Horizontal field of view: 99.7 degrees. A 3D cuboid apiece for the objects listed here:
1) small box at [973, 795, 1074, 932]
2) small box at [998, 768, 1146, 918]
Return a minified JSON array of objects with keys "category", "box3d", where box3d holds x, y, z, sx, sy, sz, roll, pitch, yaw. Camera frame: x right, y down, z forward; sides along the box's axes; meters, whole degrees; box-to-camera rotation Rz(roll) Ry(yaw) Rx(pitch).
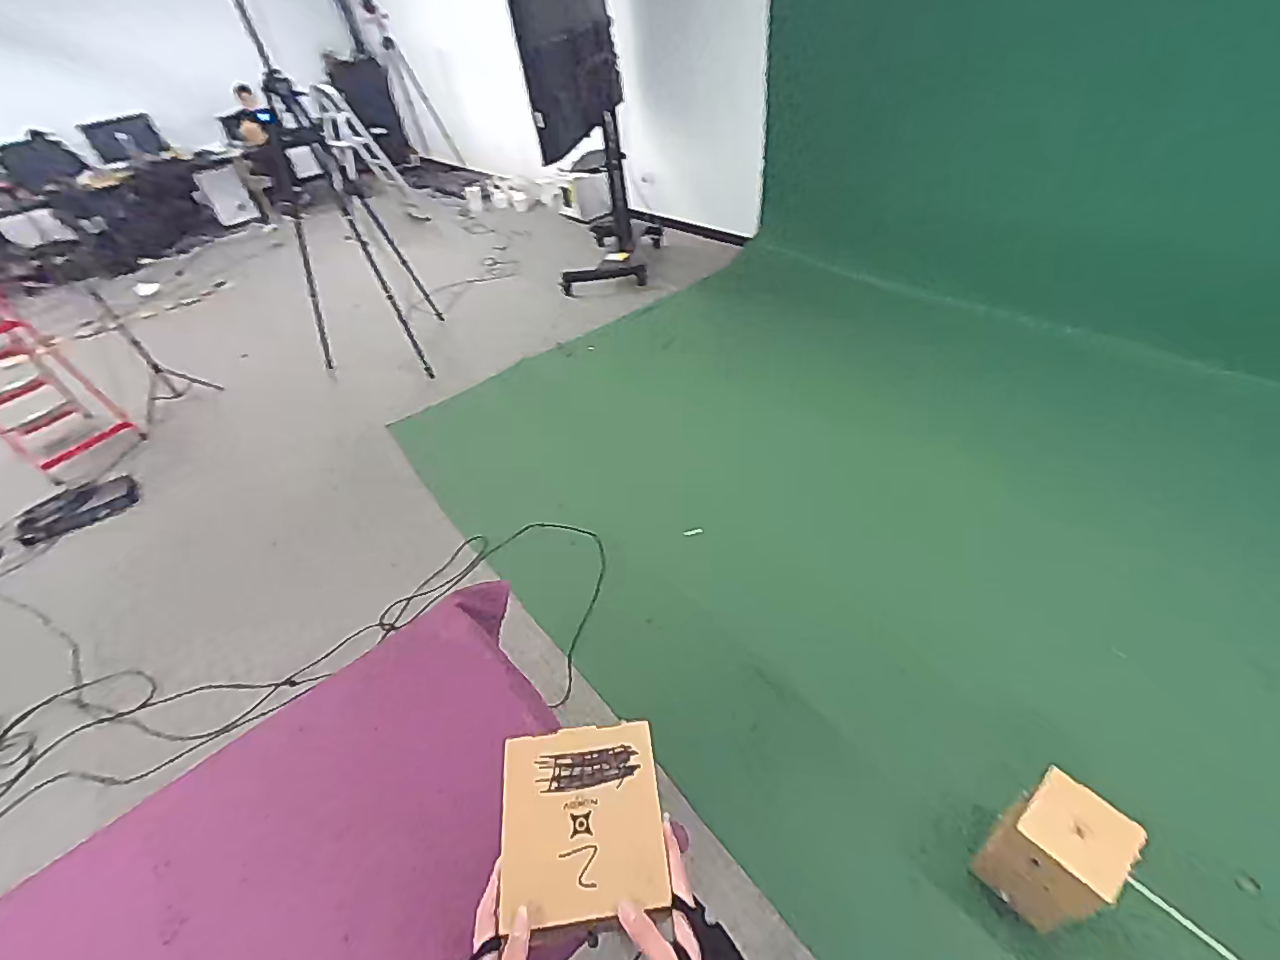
[{"category":"small box","box3d":[0.893,0.867,1.224,0.179,0.176,0.168,-34,47,-24]},{"category":"small box","box3d":[0.876,0.750,1.114,0.179,0.176,0.168,-33,47,-25]}]
